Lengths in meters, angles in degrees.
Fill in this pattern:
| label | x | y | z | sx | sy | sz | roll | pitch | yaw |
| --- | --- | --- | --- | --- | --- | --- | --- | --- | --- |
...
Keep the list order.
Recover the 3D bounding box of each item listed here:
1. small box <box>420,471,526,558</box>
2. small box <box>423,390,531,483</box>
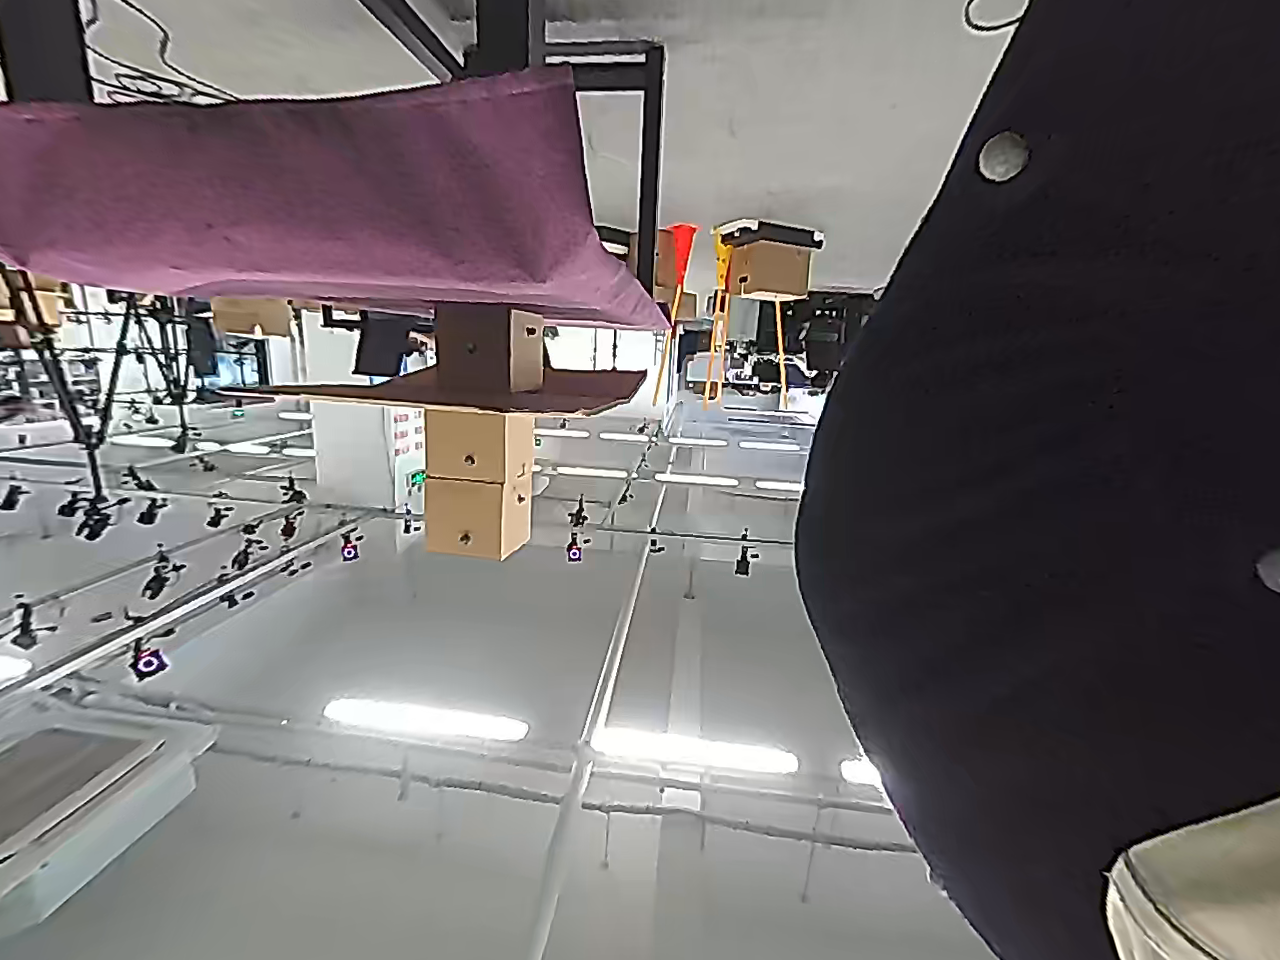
| label | x | y | z | sx | sy | sz | roll | pitch | yaw |
| --- | --- | --- | --- | --- | --- | --- | --- | --- | --- |
| small box | -0.358 | 0.059 | 1.181 | 0.179 | 0.176 | 0.168 | 4 | -169 | 9 |
| small box | -0.341 | -0.098 | 1.146 | 0.179 | 0.176 | 0.168 | 5 | -169 | 8 |
